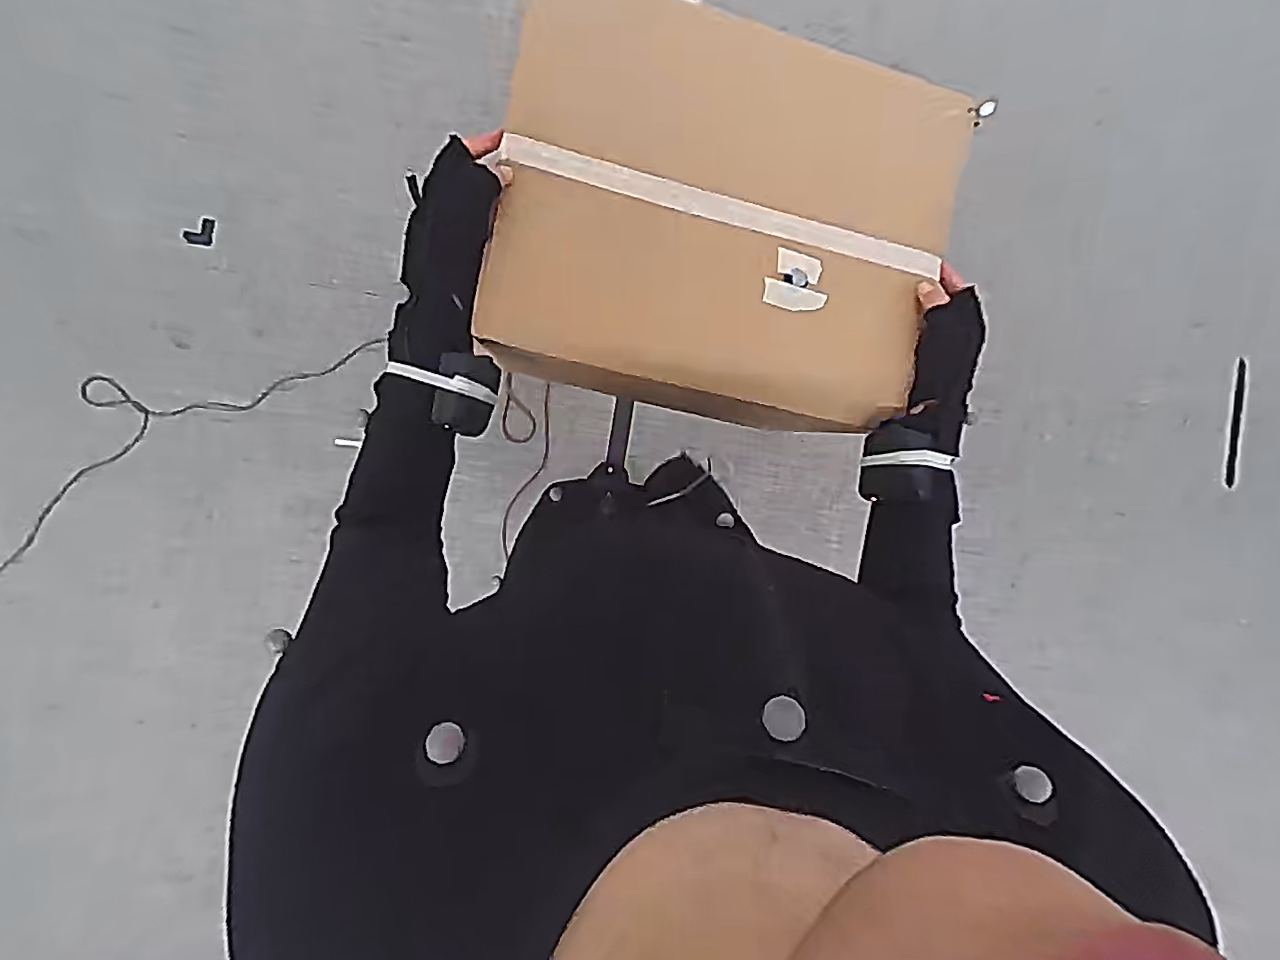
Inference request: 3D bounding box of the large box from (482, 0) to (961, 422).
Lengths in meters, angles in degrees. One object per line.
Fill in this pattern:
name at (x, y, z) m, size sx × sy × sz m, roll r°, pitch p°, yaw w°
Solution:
large box at (0.058, -0.256, 0.631) m, size 0.408 × 0.320 × 0.320 m, roll 11°, pitch 96°, yaw -10°
